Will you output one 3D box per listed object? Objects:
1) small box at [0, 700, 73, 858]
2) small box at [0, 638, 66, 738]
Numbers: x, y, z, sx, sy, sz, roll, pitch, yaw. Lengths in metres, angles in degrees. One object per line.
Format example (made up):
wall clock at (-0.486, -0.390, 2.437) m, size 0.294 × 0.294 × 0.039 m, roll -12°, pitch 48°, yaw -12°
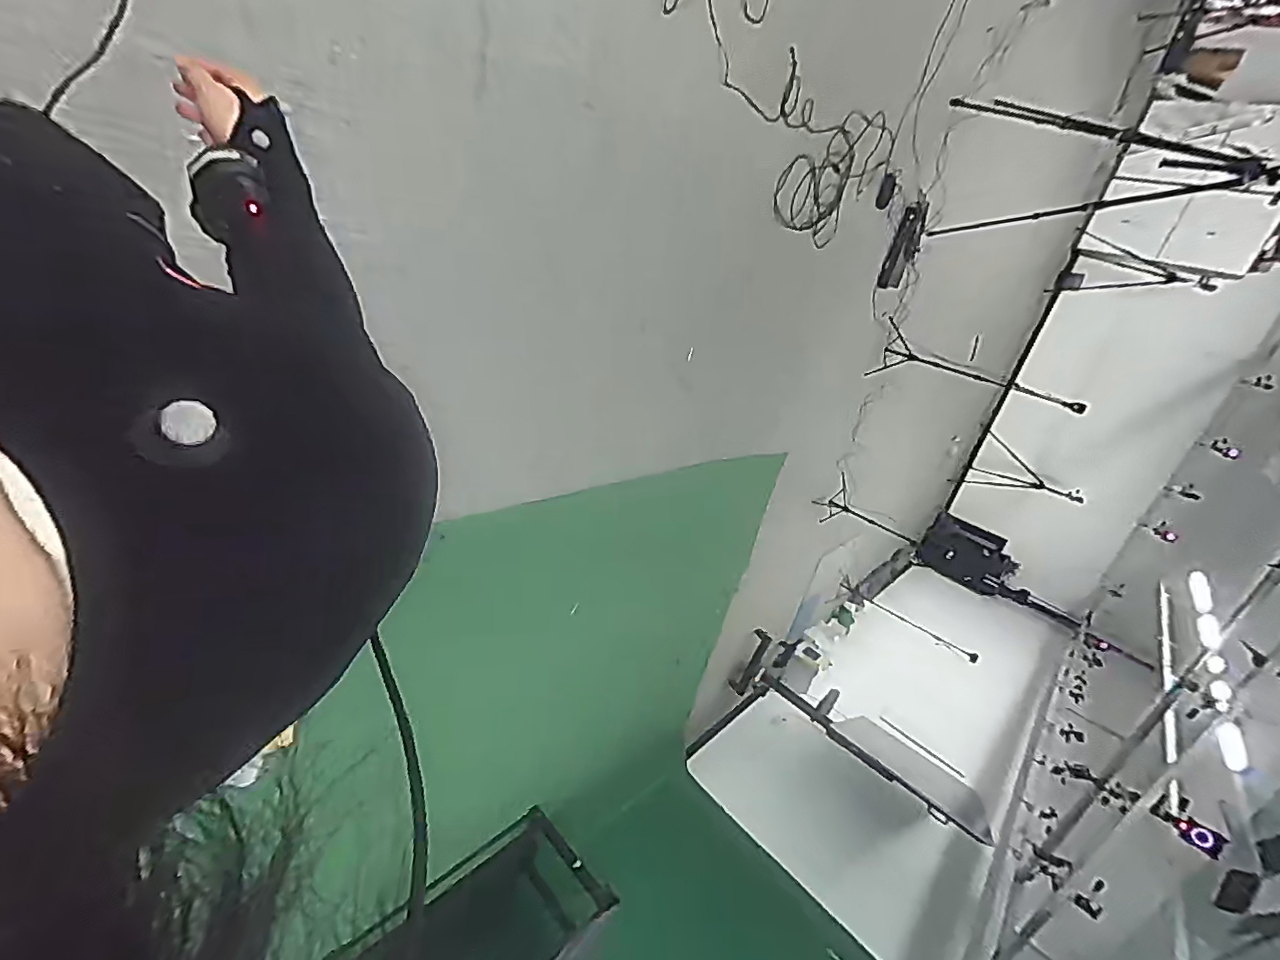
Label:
small box at (-1.049, 0.487, 0.873) m, size 0.168 × 0.176 × 0.179 m, roll -7°, pitch 118°, yaw -50°
small box at (-1.166, 0.411, 0.960) m, size 0.179 × 0.176 × 0.168 m, roll -12°, pitch 122°, yaw -47°
